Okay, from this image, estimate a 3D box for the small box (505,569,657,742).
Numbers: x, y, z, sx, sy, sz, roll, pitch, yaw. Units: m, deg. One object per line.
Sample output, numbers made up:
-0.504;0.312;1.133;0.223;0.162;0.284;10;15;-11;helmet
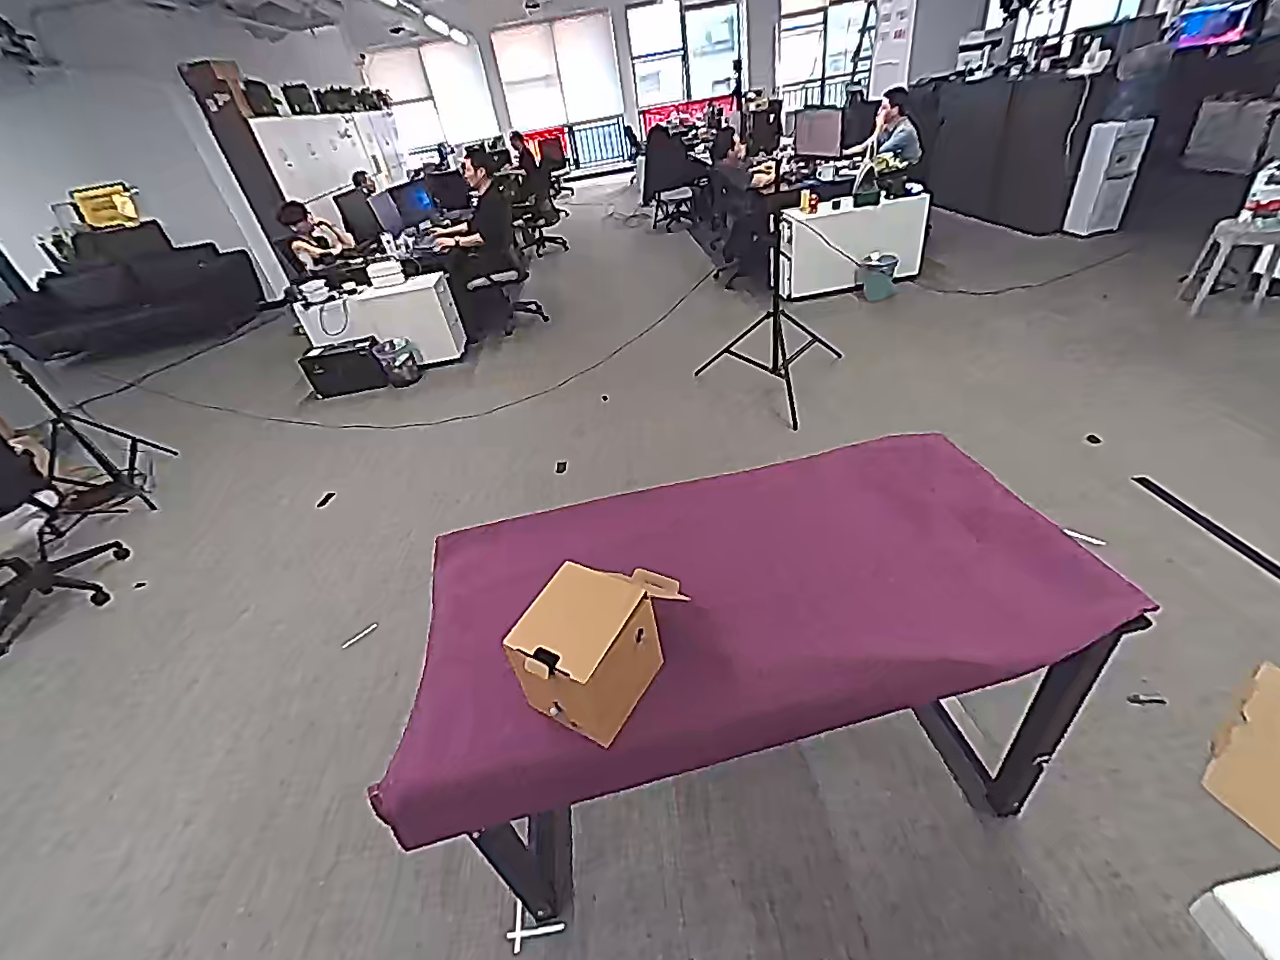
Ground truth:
-0.085;0.282;0.884;0.168;0.176;0.179;13;41;31;small box
